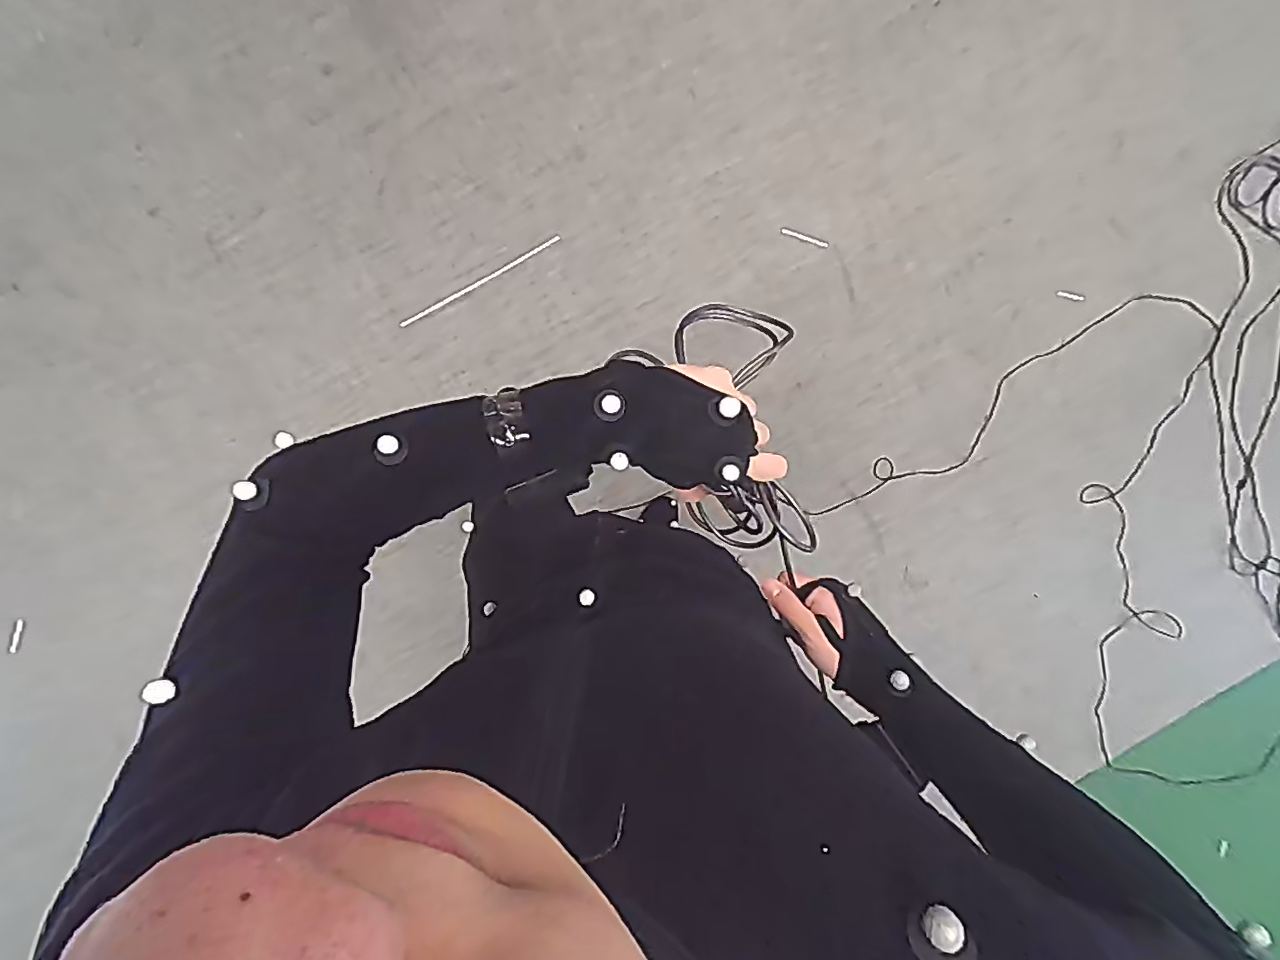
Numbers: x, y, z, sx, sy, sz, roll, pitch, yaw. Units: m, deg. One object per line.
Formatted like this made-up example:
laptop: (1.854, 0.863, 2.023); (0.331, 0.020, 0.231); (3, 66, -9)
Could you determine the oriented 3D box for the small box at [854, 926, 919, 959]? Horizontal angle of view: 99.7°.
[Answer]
small box: (0.802, 1.545, 1.681); (0.168, 0.176, 0.179); (-34, 102, 0)
